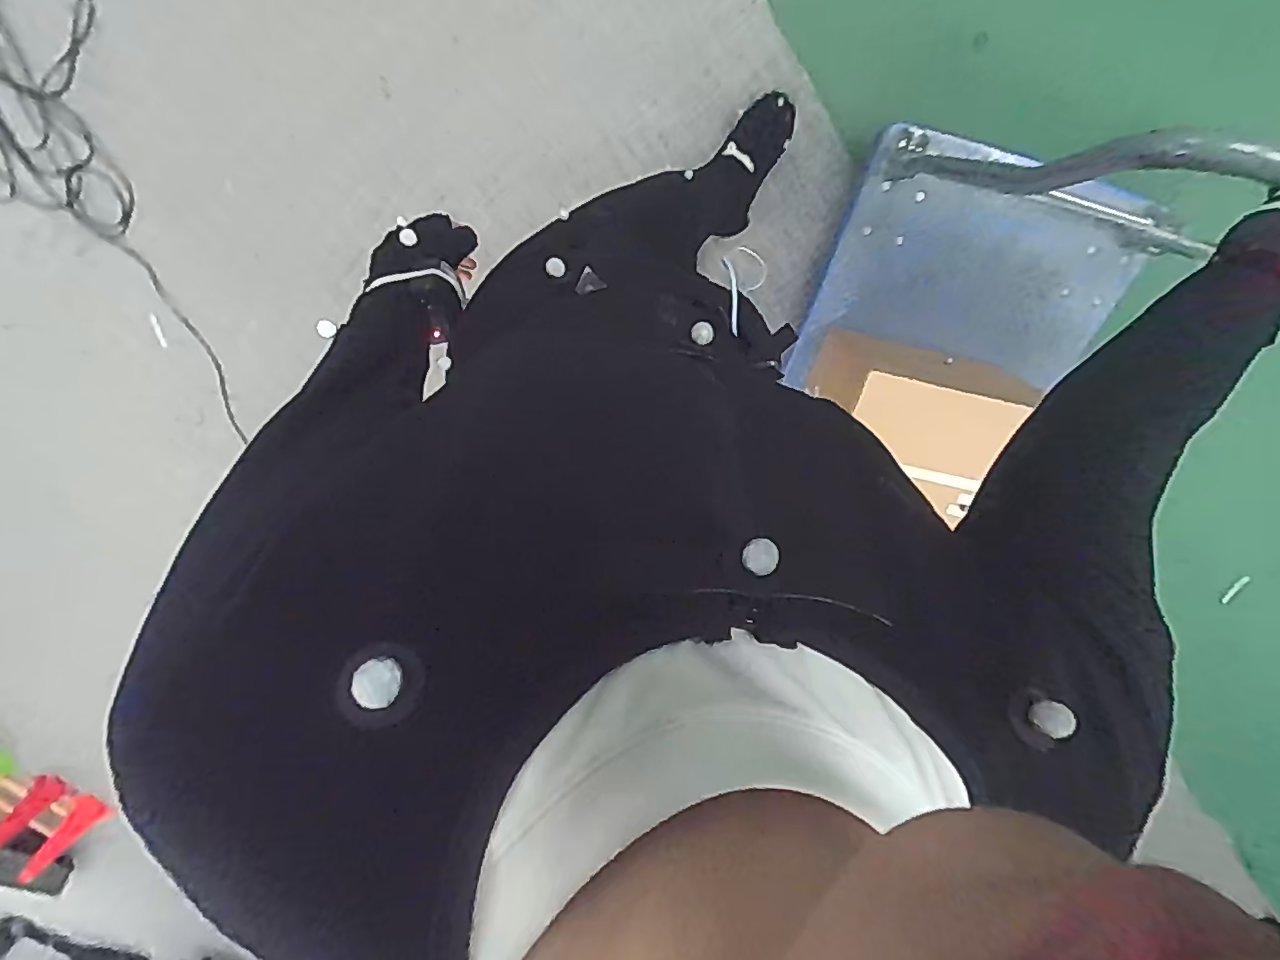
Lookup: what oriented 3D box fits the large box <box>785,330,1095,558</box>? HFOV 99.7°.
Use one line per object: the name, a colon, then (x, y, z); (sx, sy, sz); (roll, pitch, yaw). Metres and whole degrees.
large box: (0.553, -0.086, 1.102); (0.408, 0.320, 0.320); (12, 121, -2)
